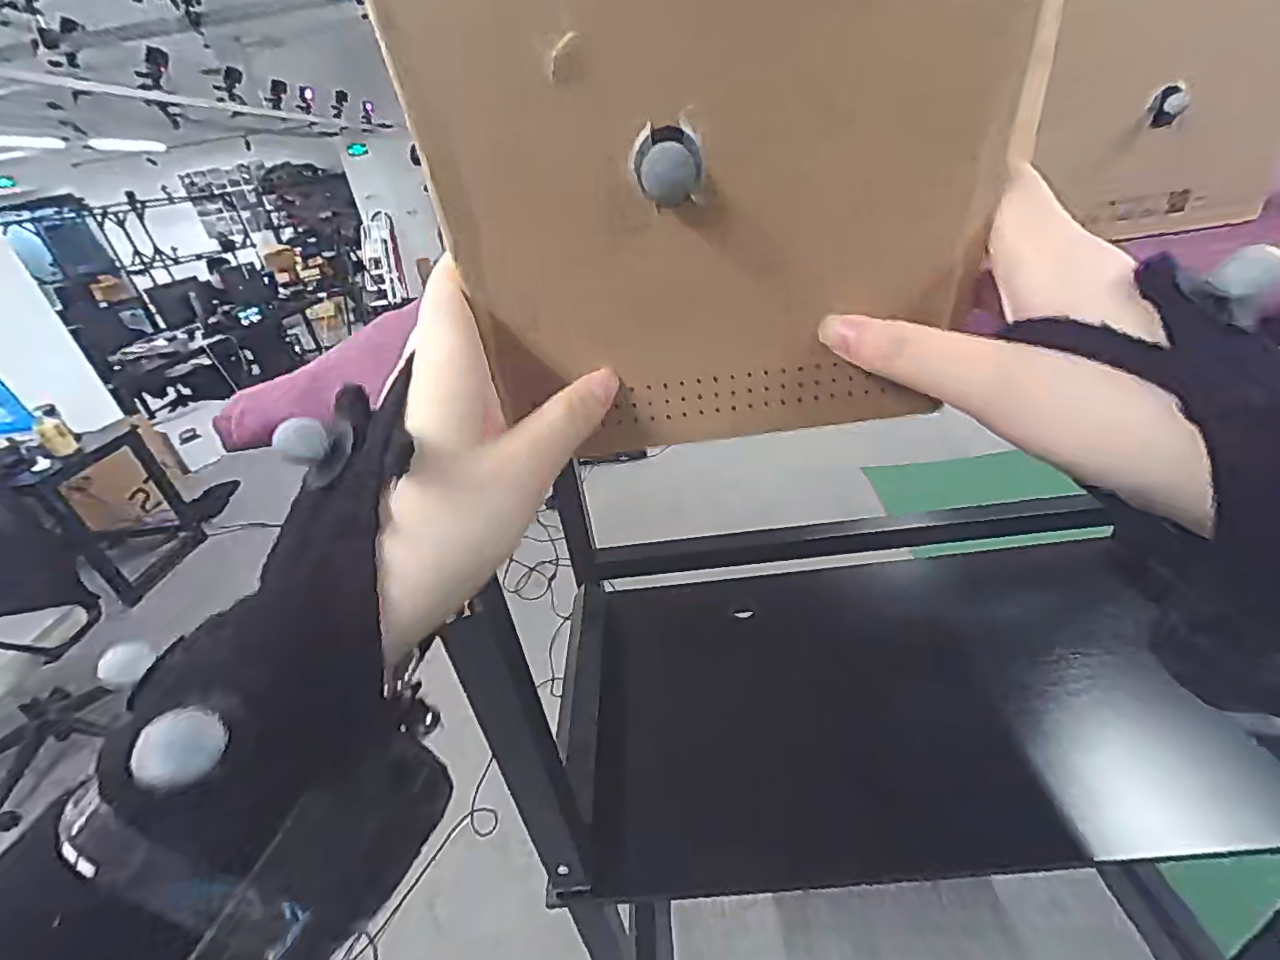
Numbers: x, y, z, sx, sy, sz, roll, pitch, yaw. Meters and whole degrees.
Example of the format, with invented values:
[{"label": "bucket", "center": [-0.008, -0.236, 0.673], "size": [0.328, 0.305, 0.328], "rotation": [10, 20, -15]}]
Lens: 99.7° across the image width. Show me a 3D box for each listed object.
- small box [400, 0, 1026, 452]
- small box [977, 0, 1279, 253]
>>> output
[{"label": "small box", "center": [0.029, -0.126, 0.236], "size": [0.179, 0.176, 0.168], "rotation": [-7, 38, 3]}, {"label": "small box", "center": [0.344, -0.282, 0.423], "size": [0.168, 0.176, 0.179], "rotation": [-5, 30, 4]}]
